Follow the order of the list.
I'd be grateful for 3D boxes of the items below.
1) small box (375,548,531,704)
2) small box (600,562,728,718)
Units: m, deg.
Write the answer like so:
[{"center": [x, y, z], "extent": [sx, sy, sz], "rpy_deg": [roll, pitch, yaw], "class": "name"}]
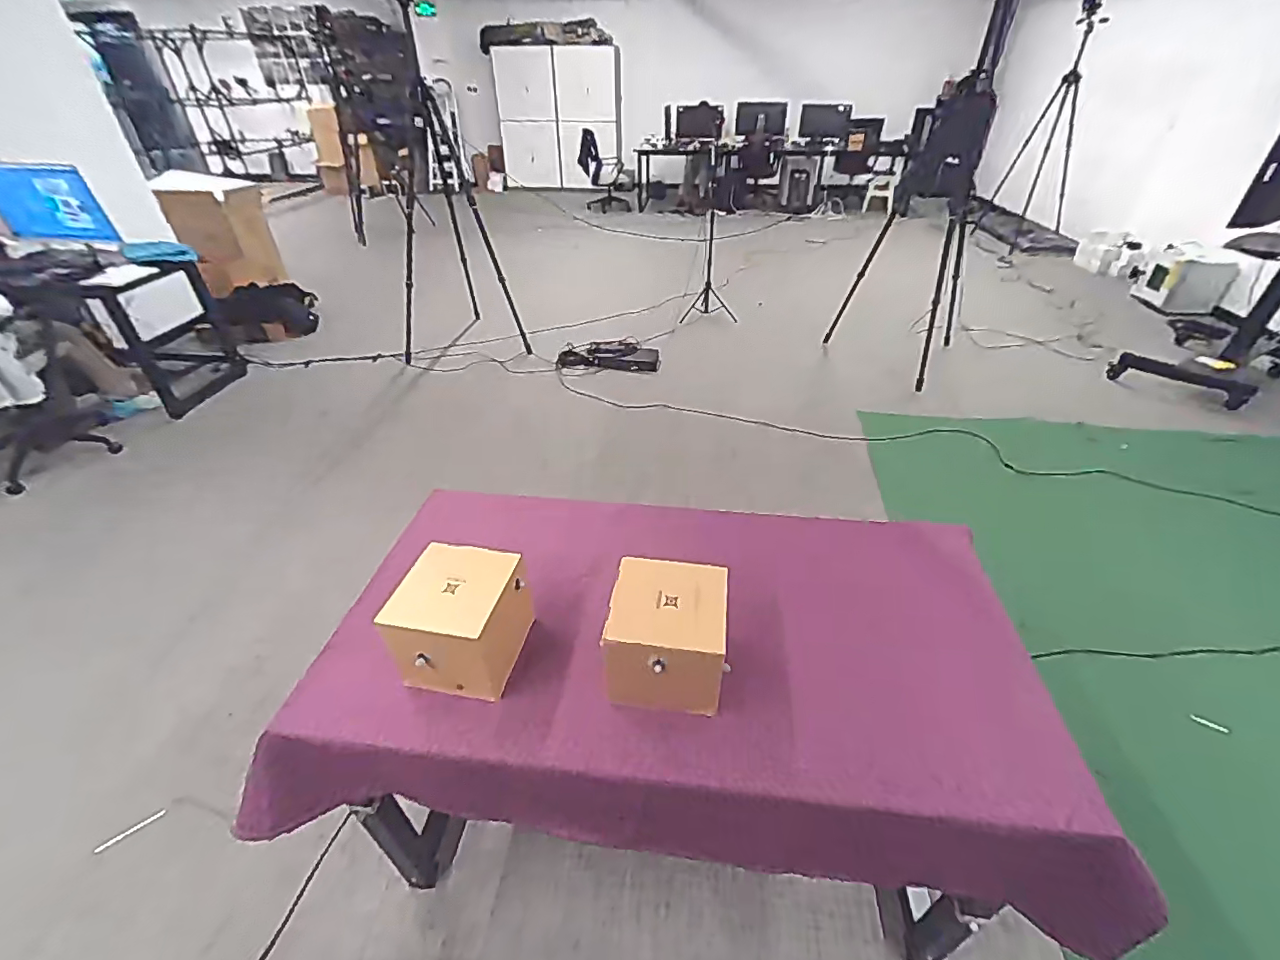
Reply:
[{"center": [-0.290, 0.239, 0.887], "extent": [0.168, 0.176, 0.179], "rpy_deg": [6, 36, 9], "class": "small box"}, {"center": [0.043, 0.253, 0.857], "extent": [0.179, 0.176, 0.168], "rpy_deg": [5, 37, 8], "class": "small box"}]
